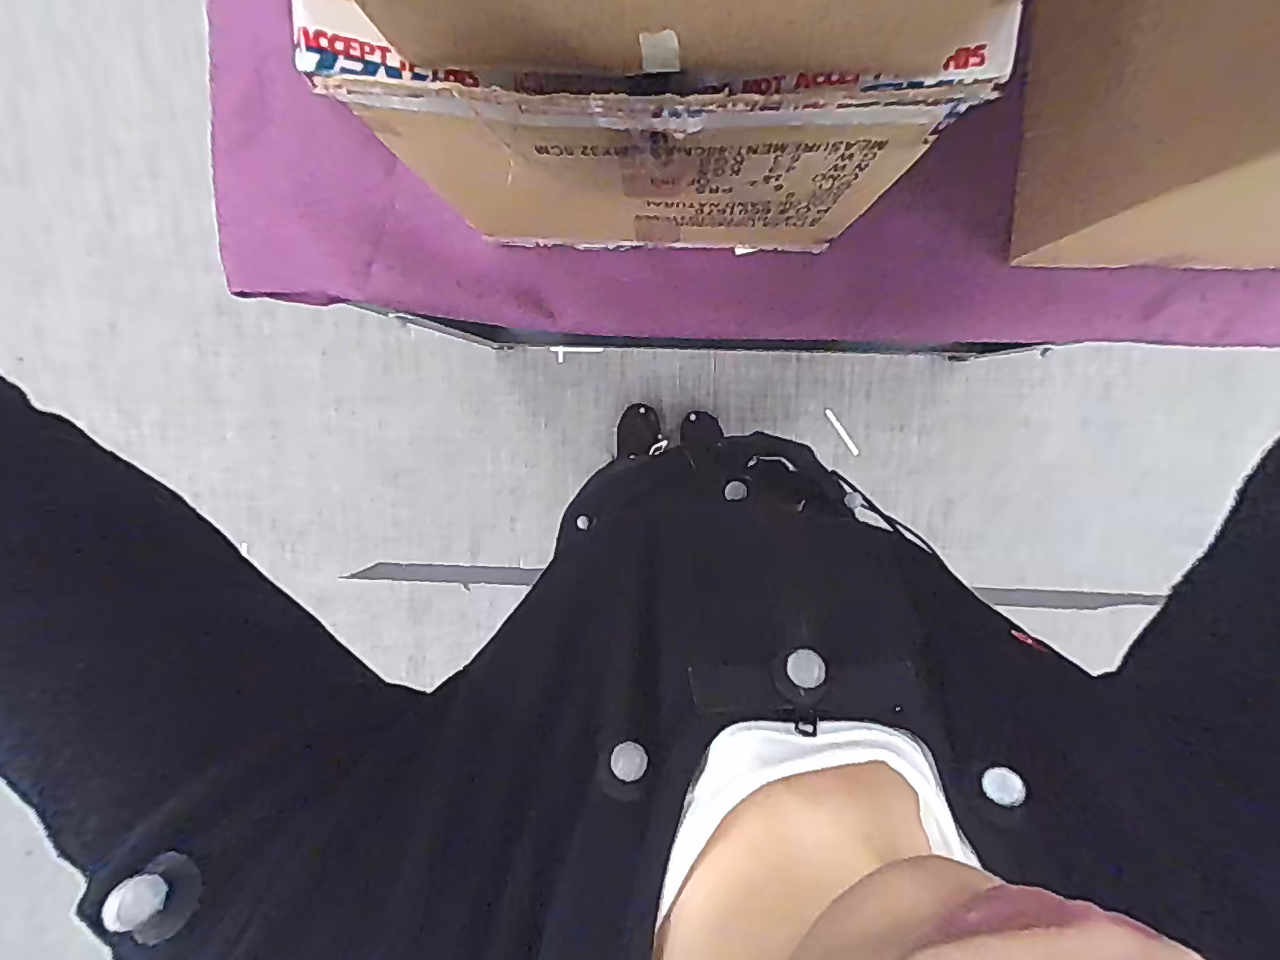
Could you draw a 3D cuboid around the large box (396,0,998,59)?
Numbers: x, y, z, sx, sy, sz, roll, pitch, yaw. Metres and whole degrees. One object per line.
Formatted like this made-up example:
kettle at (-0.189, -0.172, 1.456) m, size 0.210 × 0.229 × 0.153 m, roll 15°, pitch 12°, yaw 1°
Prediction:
large box at (0.022, -0.414, 0.132) m, size 0.320 × 0.320 × 0.408 m, roll 4°, pitch 99°, yaw 5°
